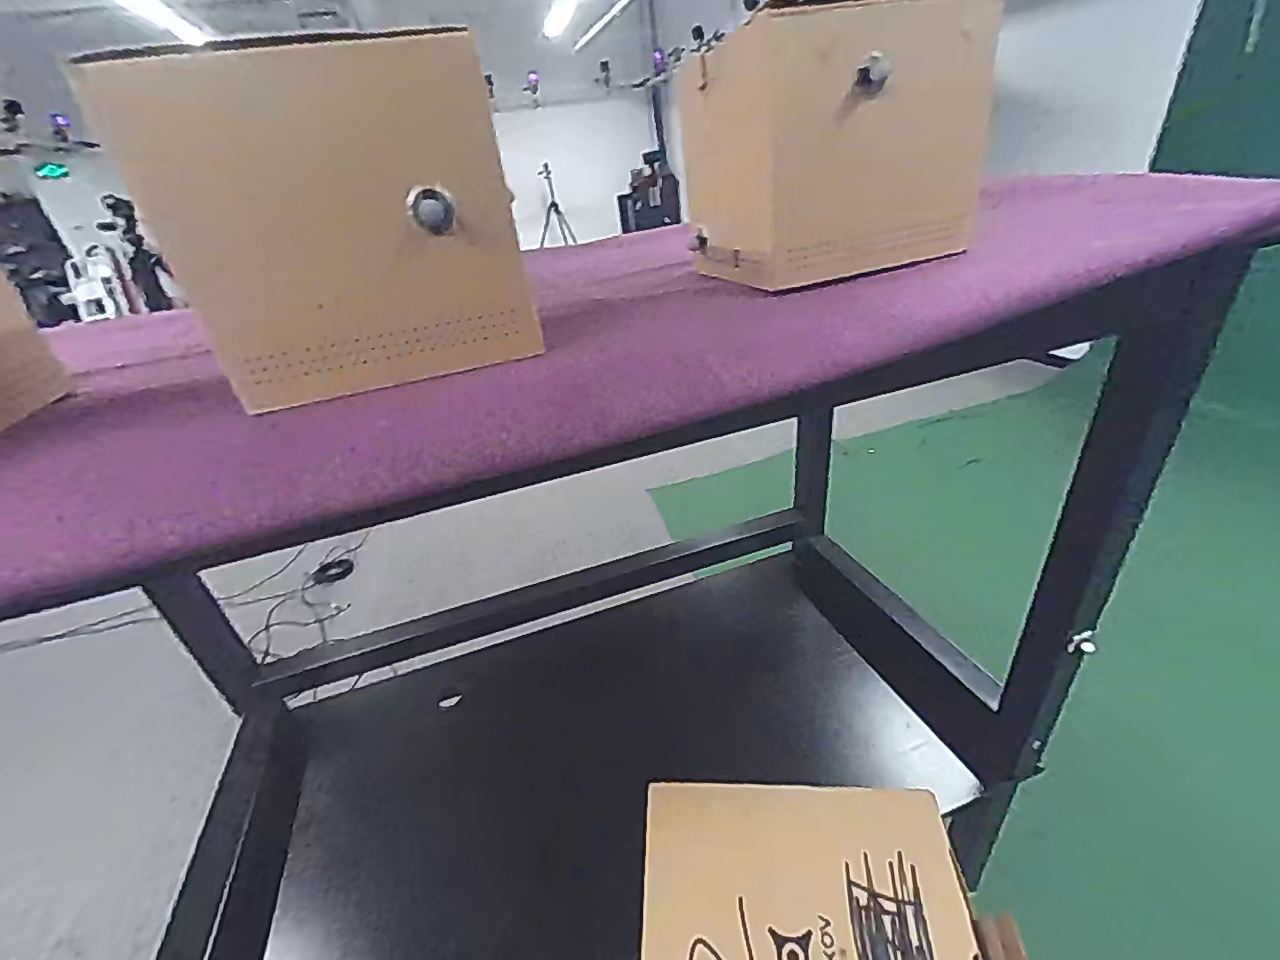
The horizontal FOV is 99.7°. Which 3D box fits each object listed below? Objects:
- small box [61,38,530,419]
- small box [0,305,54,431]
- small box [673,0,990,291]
[{"bbox_3d":[-0.178,-0.158,0.351,0.179,0.176,0.168,-17,31,-13],"label":"small box"},{"bbox_3d":[-0.479,-0.076,0.273,0.168,0.176,0.179,-14,31,-14],"label":"small box"},{"bbox_3d":[0.143,-0.261,0.444,0.179,0.176,0.168,-15,29,-11],"label":"small box"}]
